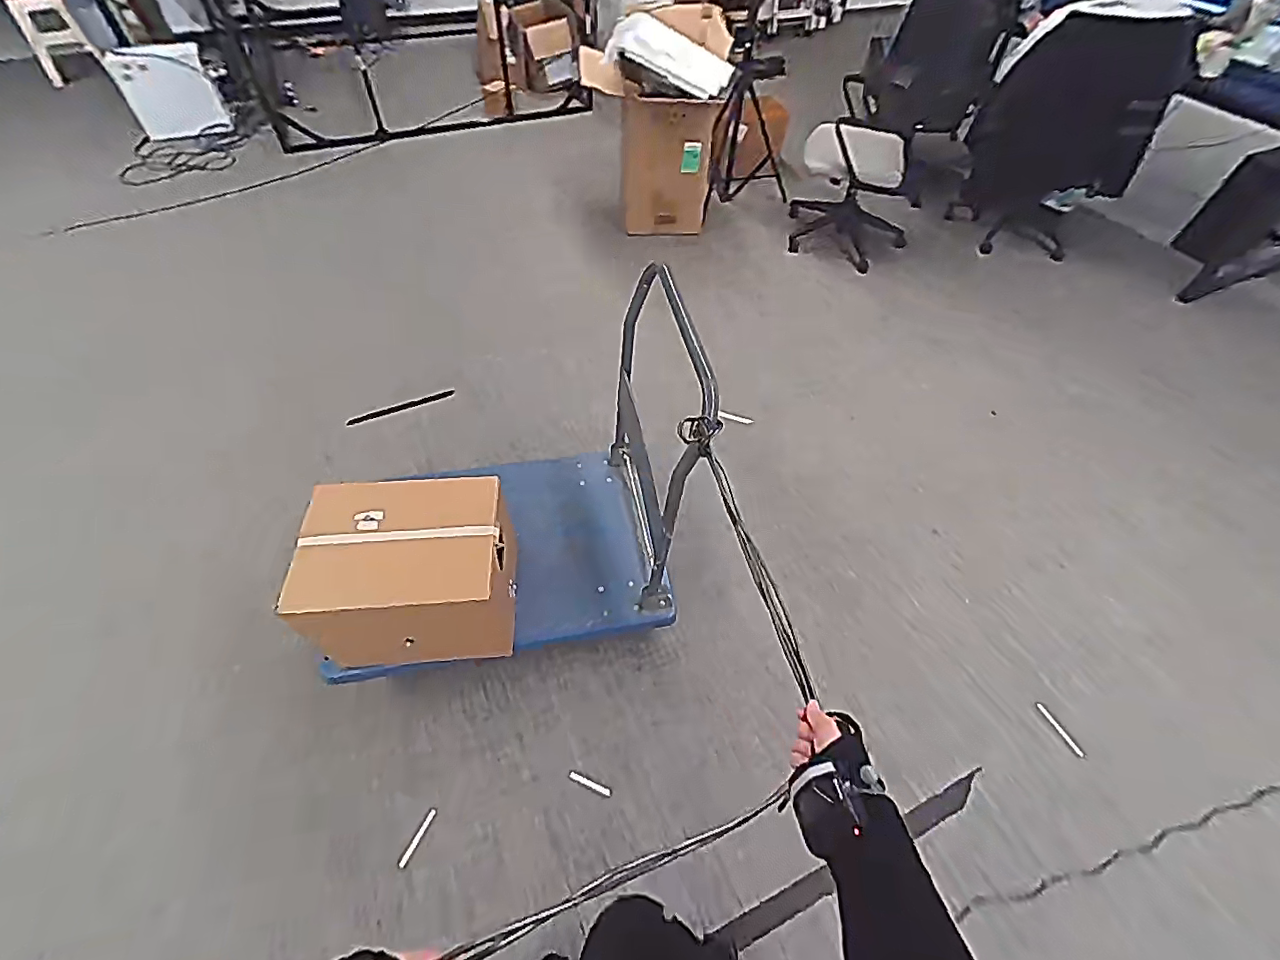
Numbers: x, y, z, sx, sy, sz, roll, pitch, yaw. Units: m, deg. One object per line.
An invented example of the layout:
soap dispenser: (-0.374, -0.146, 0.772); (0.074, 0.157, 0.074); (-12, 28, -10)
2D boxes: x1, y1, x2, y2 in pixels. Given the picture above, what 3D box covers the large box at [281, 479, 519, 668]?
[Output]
large box: (-0.504, 0.220, 1.248); (0.408, 0.320, 0.320); (-3, 52, -5)
